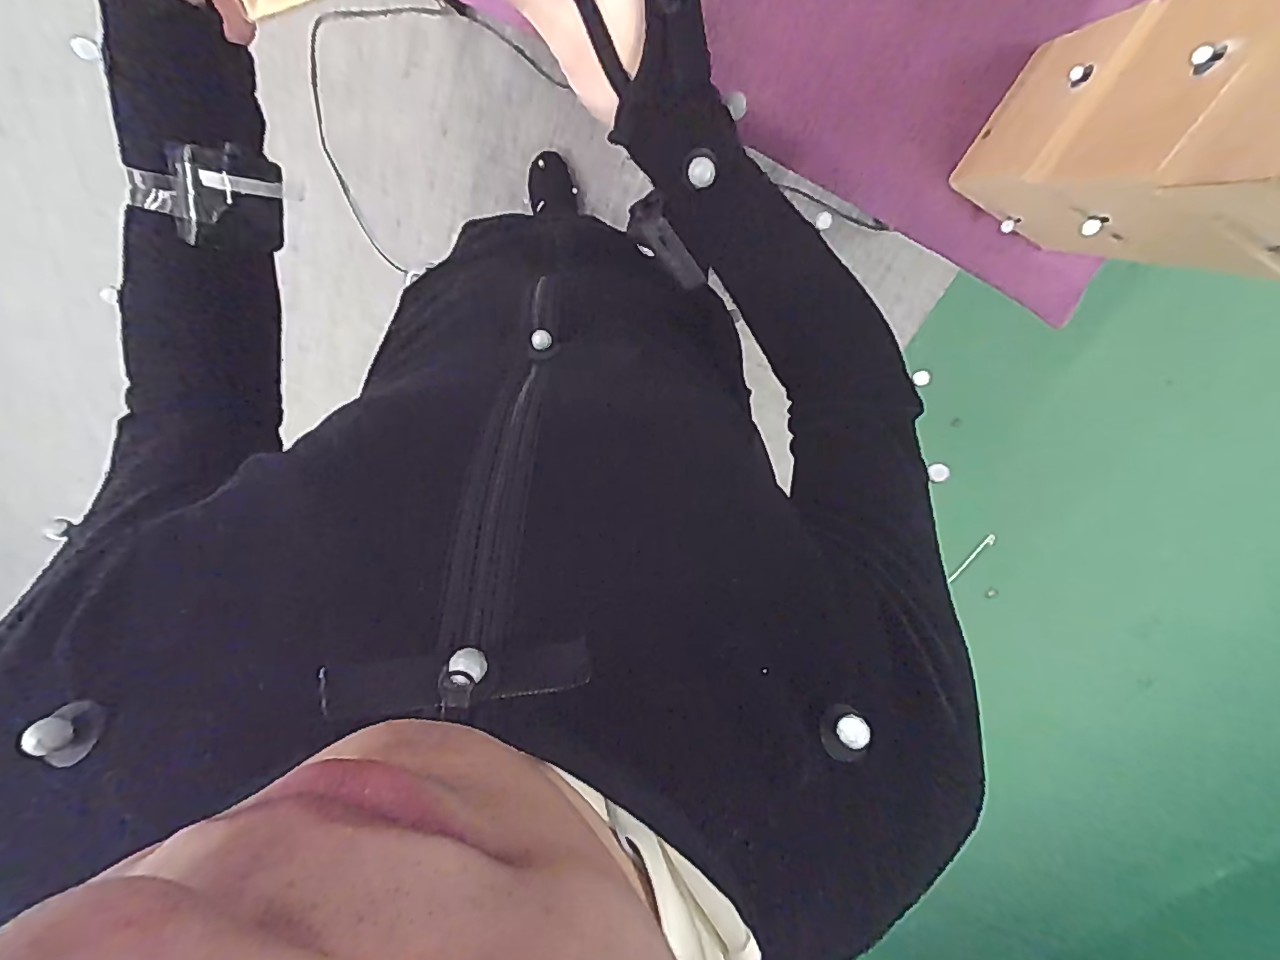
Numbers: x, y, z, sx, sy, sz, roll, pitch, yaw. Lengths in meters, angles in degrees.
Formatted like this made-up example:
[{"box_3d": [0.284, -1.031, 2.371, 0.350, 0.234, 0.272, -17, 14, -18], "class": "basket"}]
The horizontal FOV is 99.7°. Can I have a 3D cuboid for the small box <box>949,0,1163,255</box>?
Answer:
[{"box_3d": [0.506, -0.384, 0.615, 0.179, 0.176, 0.168, 25, 115, -12], "class": "small box"}]

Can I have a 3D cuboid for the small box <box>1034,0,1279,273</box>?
[{"box_3d": [0.506, -0.309, 0.469, 0.168, 0.176, 0.179, 26, 116, -10], "class": "small box"}]
